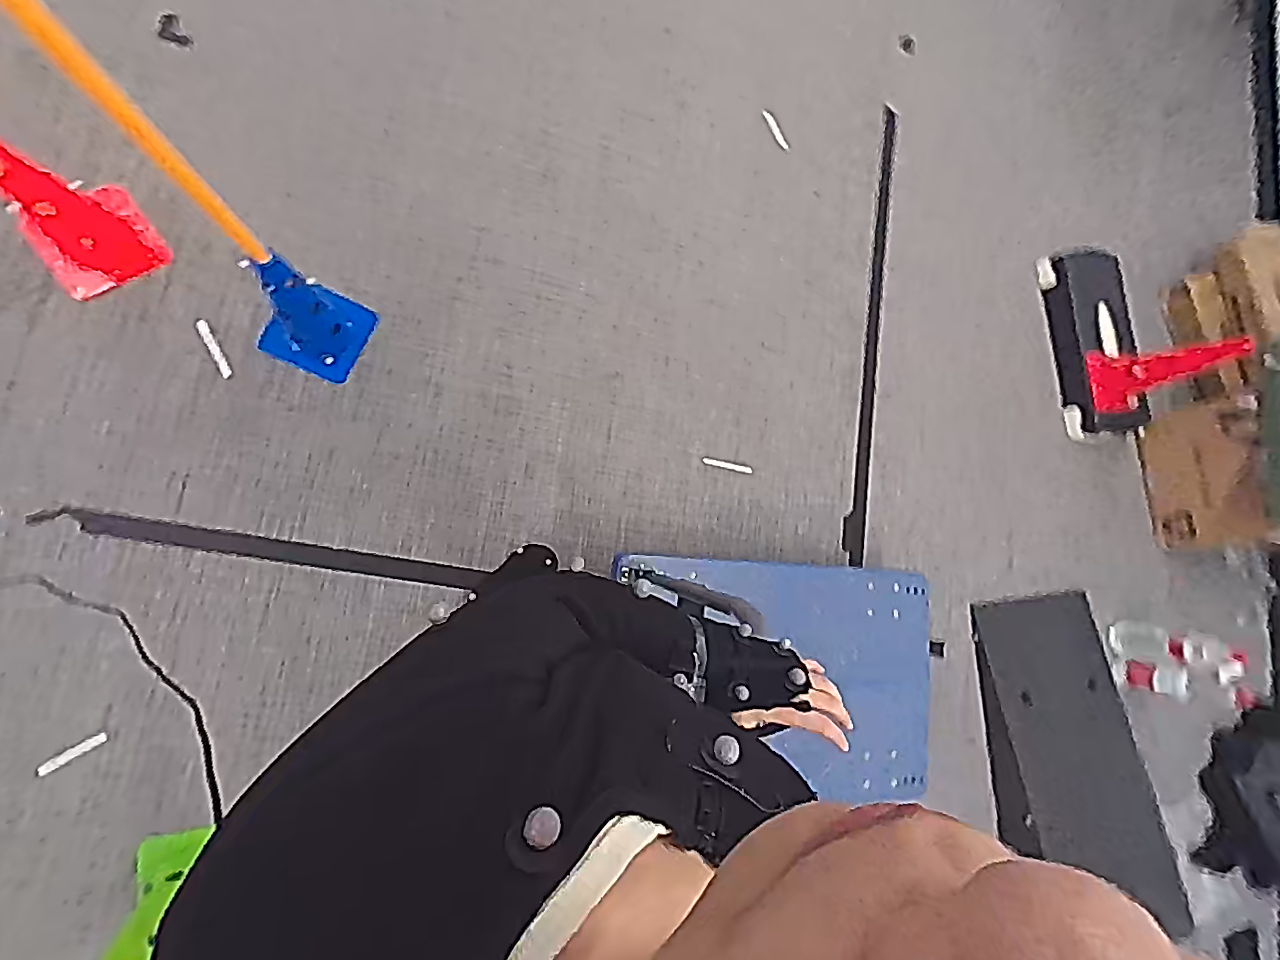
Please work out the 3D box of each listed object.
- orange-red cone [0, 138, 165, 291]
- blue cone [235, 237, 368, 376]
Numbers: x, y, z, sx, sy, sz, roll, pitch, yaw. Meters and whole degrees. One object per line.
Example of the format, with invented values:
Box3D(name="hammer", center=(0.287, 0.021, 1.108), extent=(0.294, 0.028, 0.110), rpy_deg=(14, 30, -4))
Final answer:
Box3D(name="orange-red cone", center=(-1.102, -0.533, 0.980), extent=(0.198, 0.360, 0.199), rpy_deg=(-35, 95, -16))
Box3D(name="blue cone", center=(-0.705, -0.369, 1.093), extent=(0.192, 0.380, 0.193), rpy_deg=(27, 77, -11))
